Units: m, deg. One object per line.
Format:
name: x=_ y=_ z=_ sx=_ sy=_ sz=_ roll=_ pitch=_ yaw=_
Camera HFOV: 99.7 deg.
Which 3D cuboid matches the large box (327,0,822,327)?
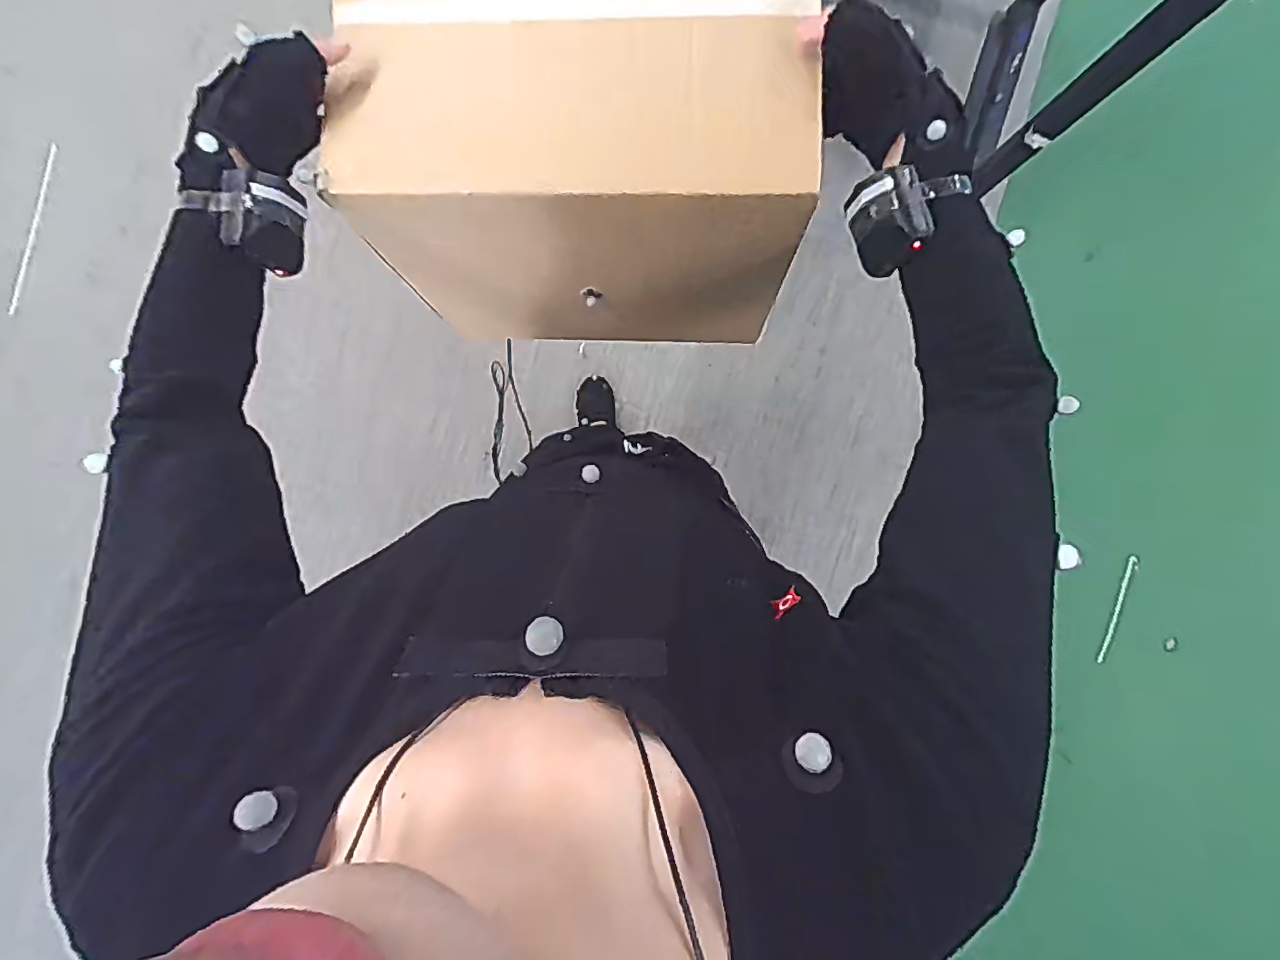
large box: x=-0.045 y=-0.370 z=0.590 sx=0.408 sy=0.320 sz=0.320 roll=1 pitch=83 yaw=4
